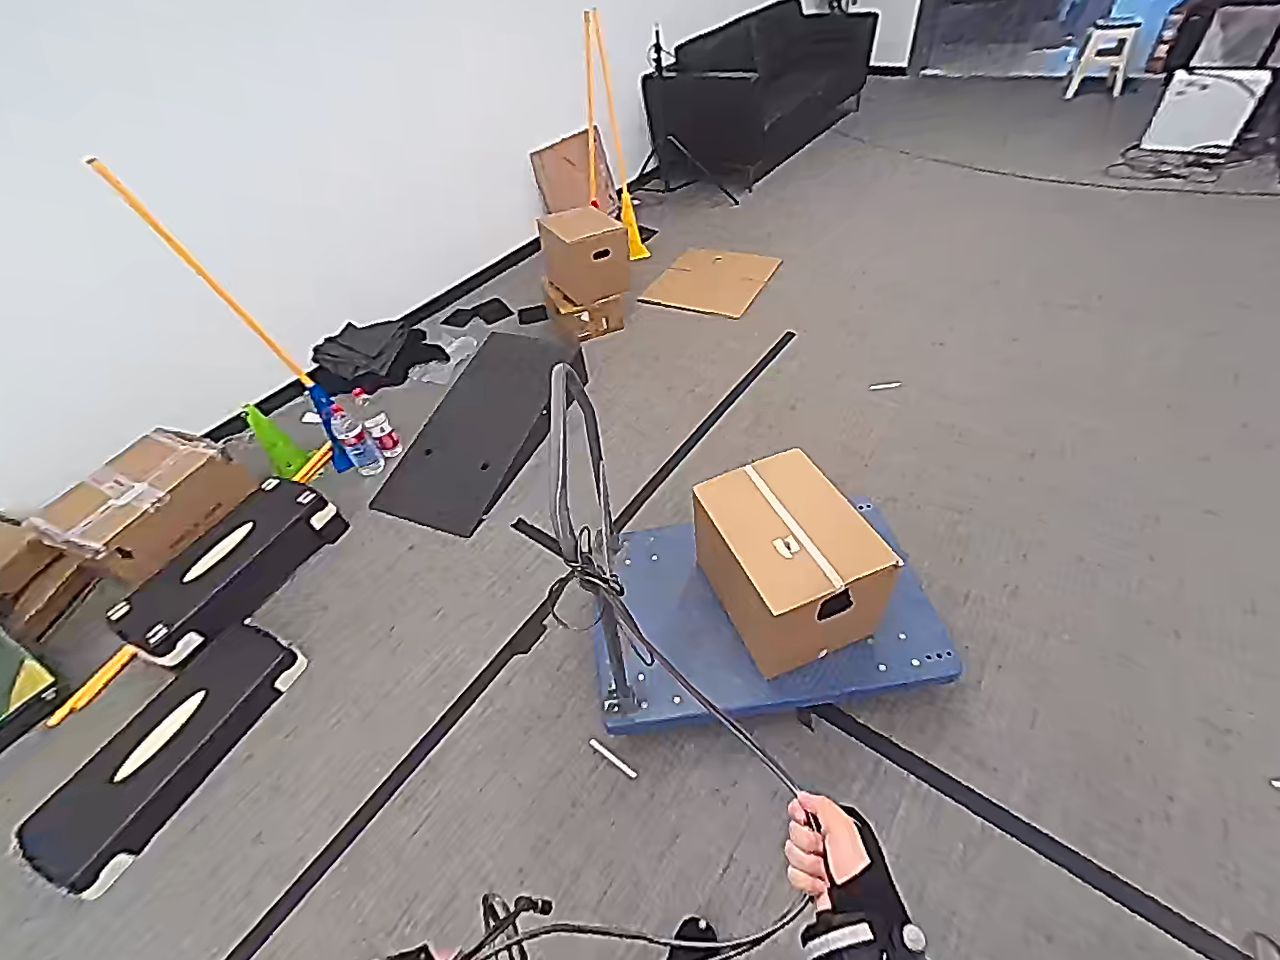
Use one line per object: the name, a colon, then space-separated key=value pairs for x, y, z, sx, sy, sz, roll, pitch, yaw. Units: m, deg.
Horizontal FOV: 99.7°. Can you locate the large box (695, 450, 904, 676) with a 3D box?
large box: x=0.360 y=0.199 z=1.350 sx=0.320 sy=0.320 sz=0.408 roll=-20 pitch=48 yaw=-9
